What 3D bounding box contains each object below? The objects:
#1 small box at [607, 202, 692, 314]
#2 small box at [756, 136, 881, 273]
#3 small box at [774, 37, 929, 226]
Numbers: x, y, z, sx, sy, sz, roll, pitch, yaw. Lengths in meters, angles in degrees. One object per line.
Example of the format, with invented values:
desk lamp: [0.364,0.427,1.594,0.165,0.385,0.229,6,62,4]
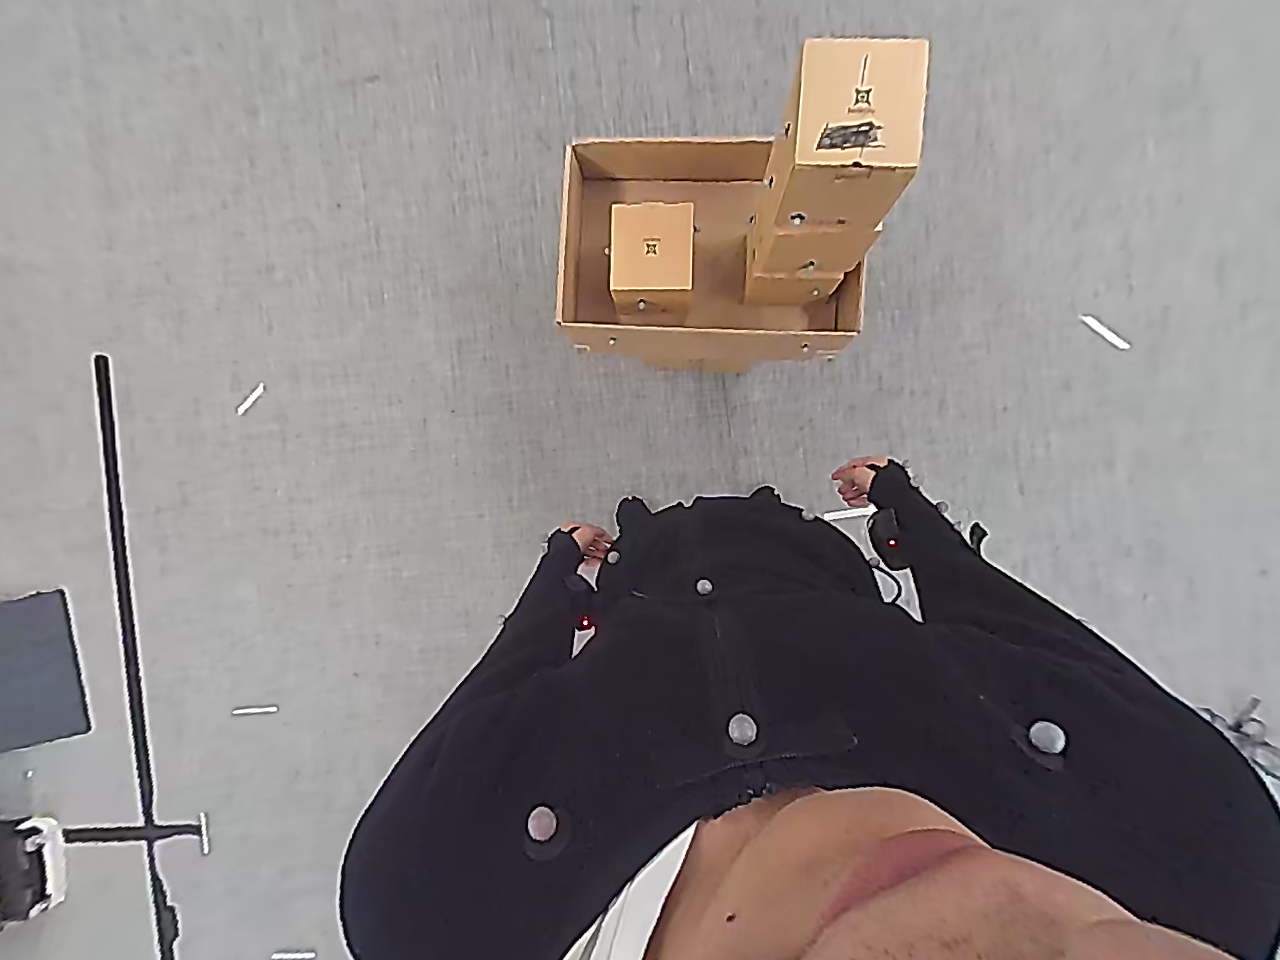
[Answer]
small box: [0.025,-0.460,1.144,0.168,0.176,0.179,1,89,4]
small box: [0.308,-0.478,0.955,0.179,0.176,0.168,1,90,4]
small box: [0.295,-0.495,0.791,0.168,0.176,0.179,5,89,4]
